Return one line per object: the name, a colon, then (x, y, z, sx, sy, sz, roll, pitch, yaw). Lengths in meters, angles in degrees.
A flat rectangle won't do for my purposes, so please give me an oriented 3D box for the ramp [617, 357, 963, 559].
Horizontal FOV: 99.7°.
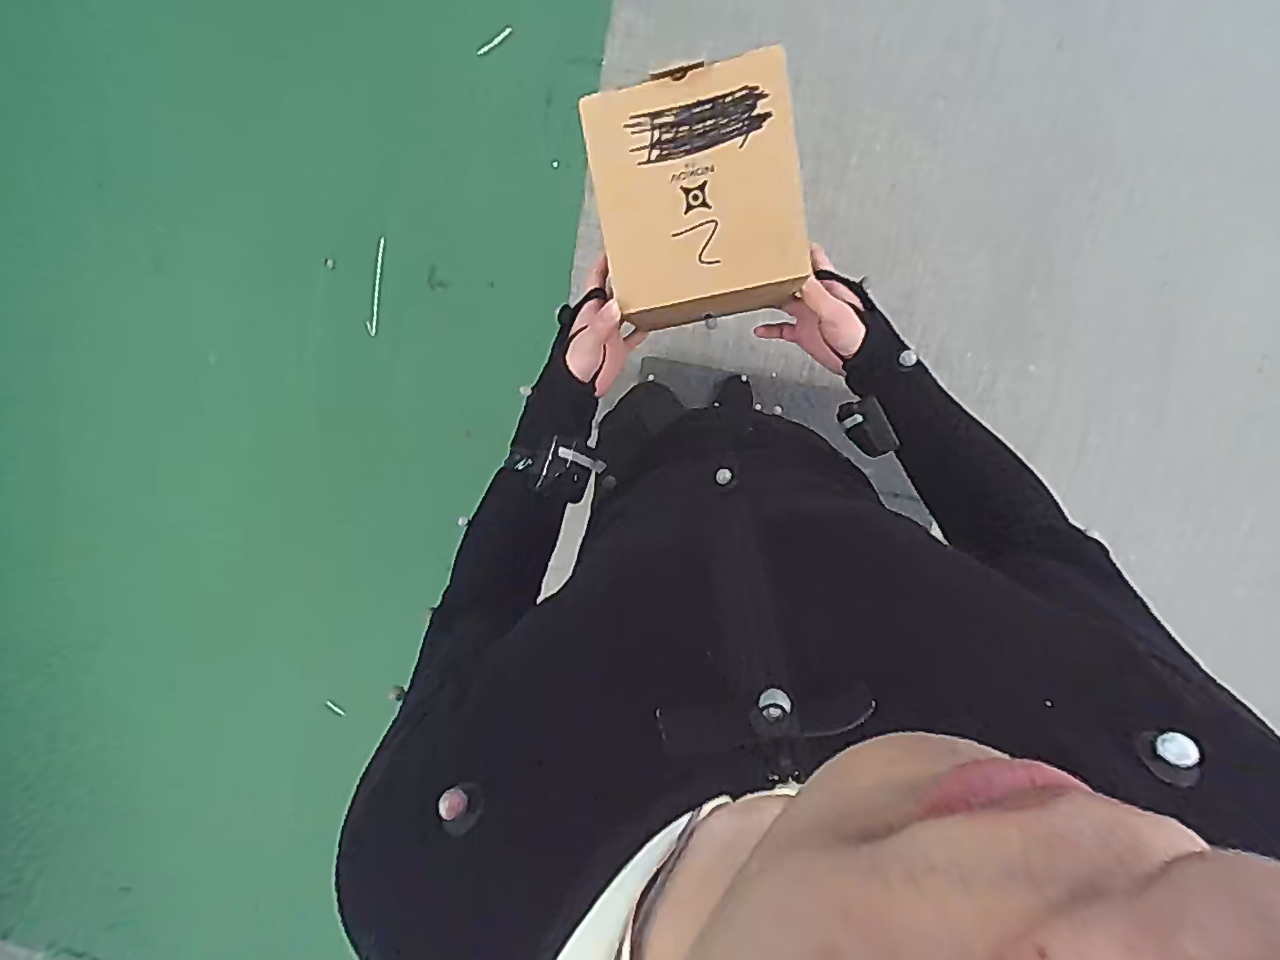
ramp: (0.453, -0.053, 1.636, 0.991, 0.206, 0.509, 9, 100, 5)
